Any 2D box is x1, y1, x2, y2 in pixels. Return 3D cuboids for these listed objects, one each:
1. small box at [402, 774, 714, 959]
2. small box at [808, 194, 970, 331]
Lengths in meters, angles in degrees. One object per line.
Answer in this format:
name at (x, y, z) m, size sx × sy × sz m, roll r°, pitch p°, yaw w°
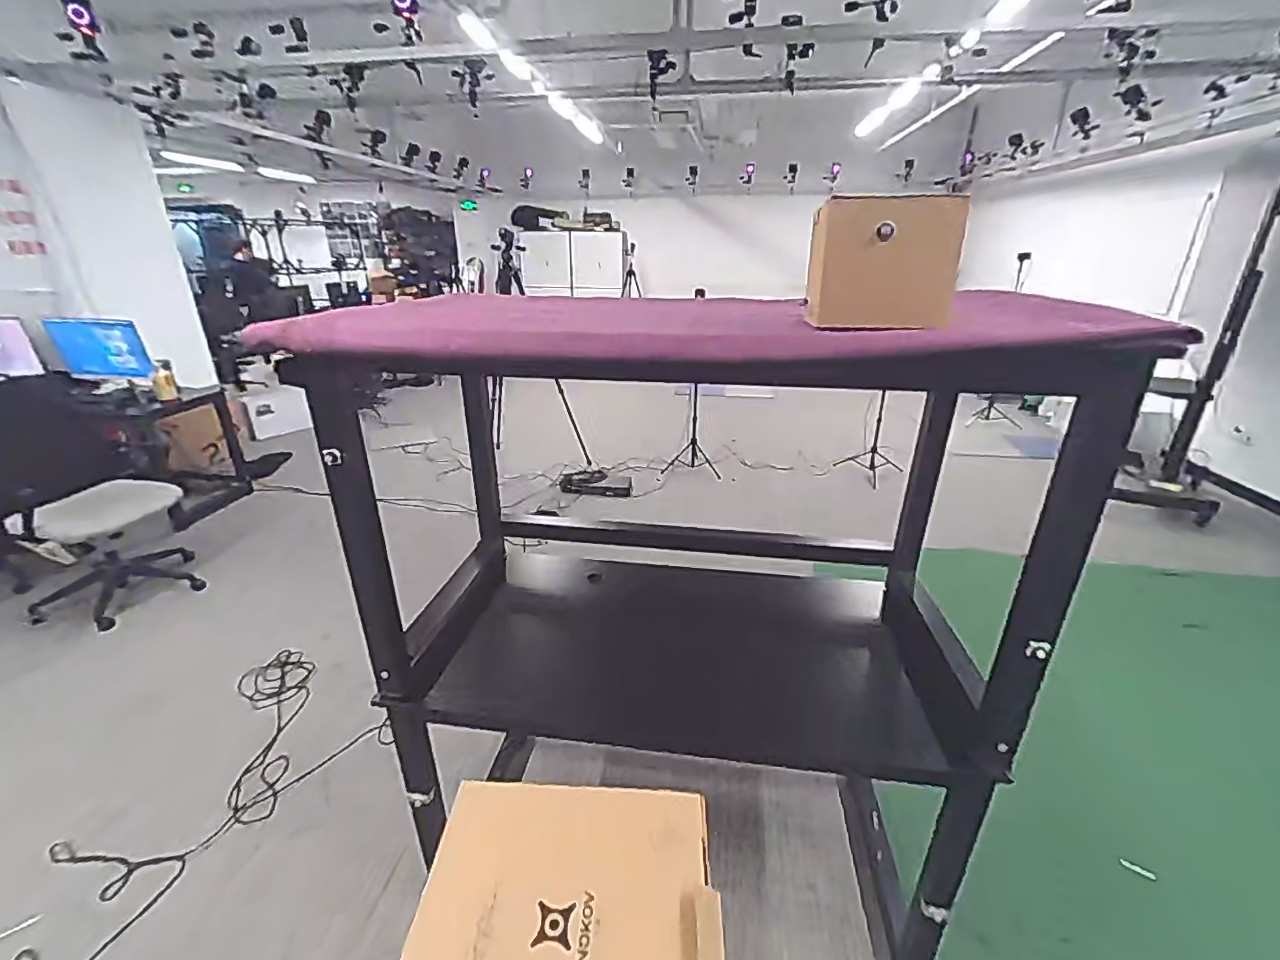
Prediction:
small box at (-0.044, 0.325, 0.357) m, size 0.179 × 0.176 × 0.168 m, roll 0°, pitch 29°, yaw 3°
small box at (0.347, -0.310, 0.793) m, size 0.179 × 0.176 × 0.168 m, roll 4°, pitch 21°, yaw 9°
